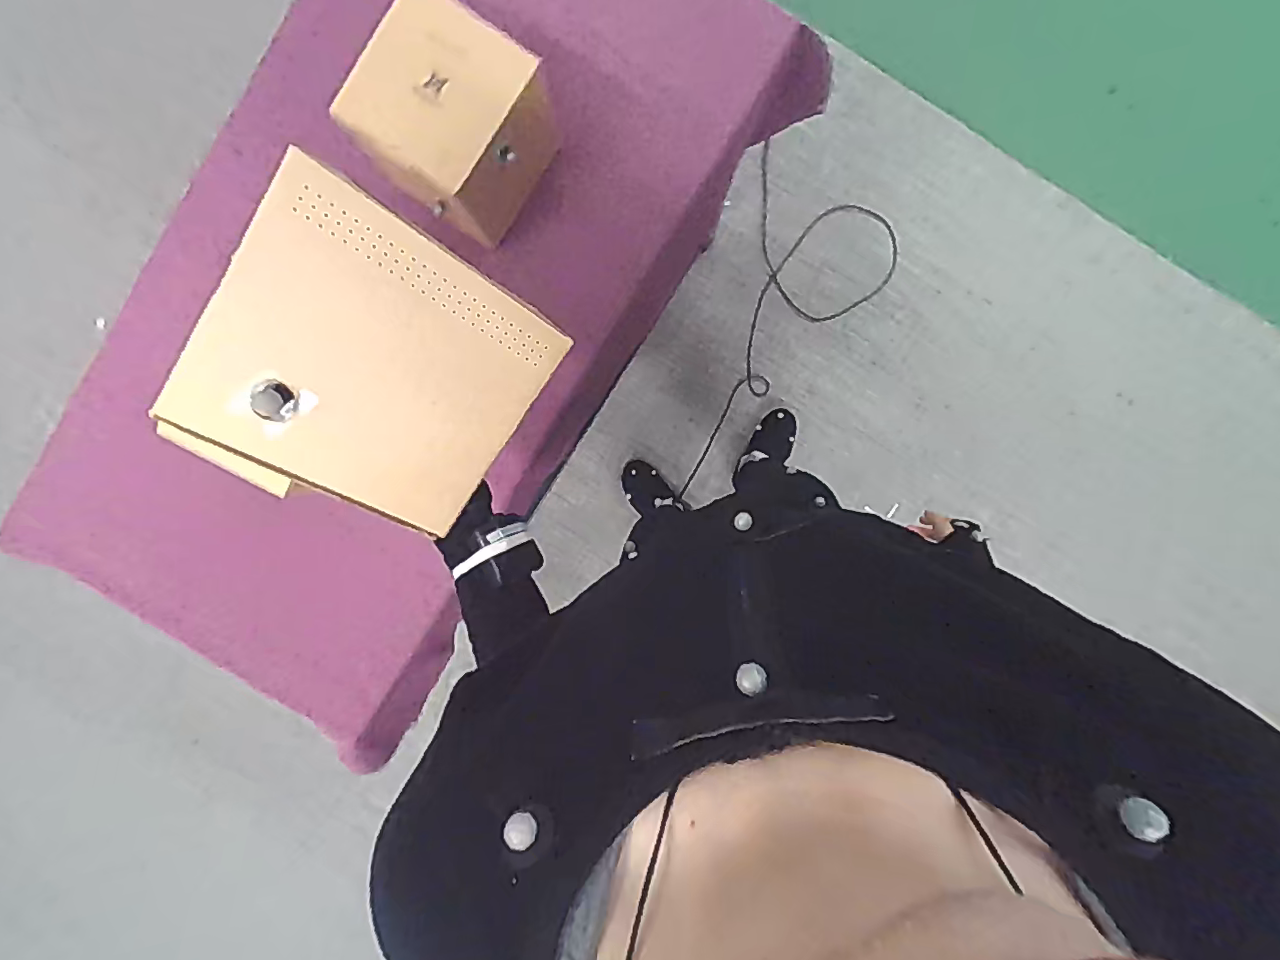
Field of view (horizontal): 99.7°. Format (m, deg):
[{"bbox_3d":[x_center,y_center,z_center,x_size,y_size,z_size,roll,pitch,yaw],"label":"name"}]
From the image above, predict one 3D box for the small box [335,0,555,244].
[{"bbox_3d":[-0.224,-0.432,0.674,0.168,0.176,0.179,34,93,-2],"label":"small box"}]
